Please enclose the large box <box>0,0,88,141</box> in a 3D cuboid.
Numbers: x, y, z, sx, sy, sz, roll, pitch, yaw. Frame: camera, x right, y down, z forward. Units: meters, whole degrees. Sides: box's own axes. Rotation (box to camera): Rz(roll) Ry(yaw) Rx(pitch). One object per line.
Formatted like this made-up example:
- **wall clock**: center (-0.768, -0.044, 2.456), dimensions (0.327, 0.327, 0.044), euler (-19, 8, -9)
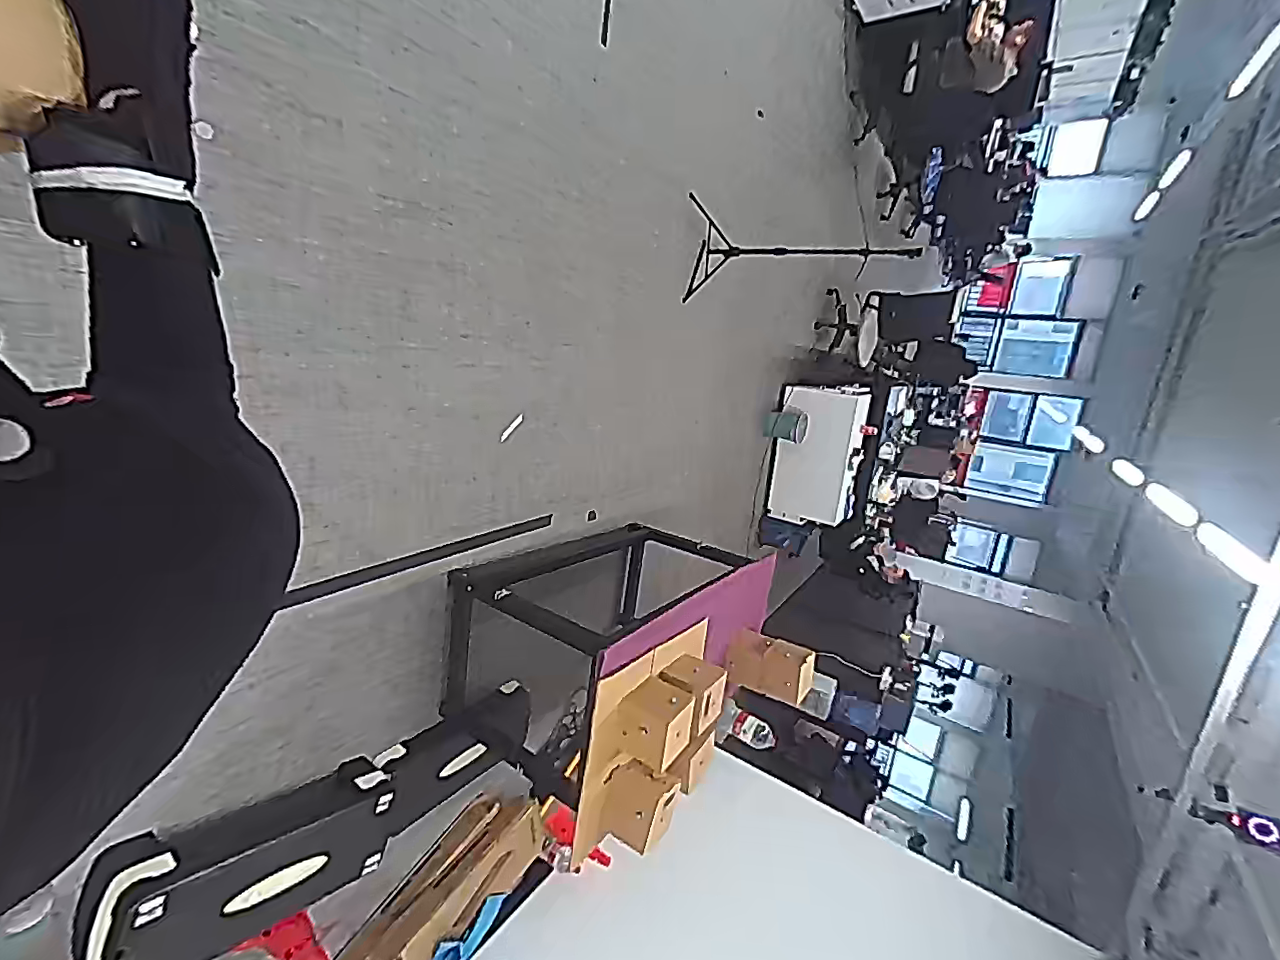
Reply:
- **large box**: center (-0.586, -0.376, 0.226), dimensions (0.408, 0.320, 0.320), euler (-21, 125, -58)
